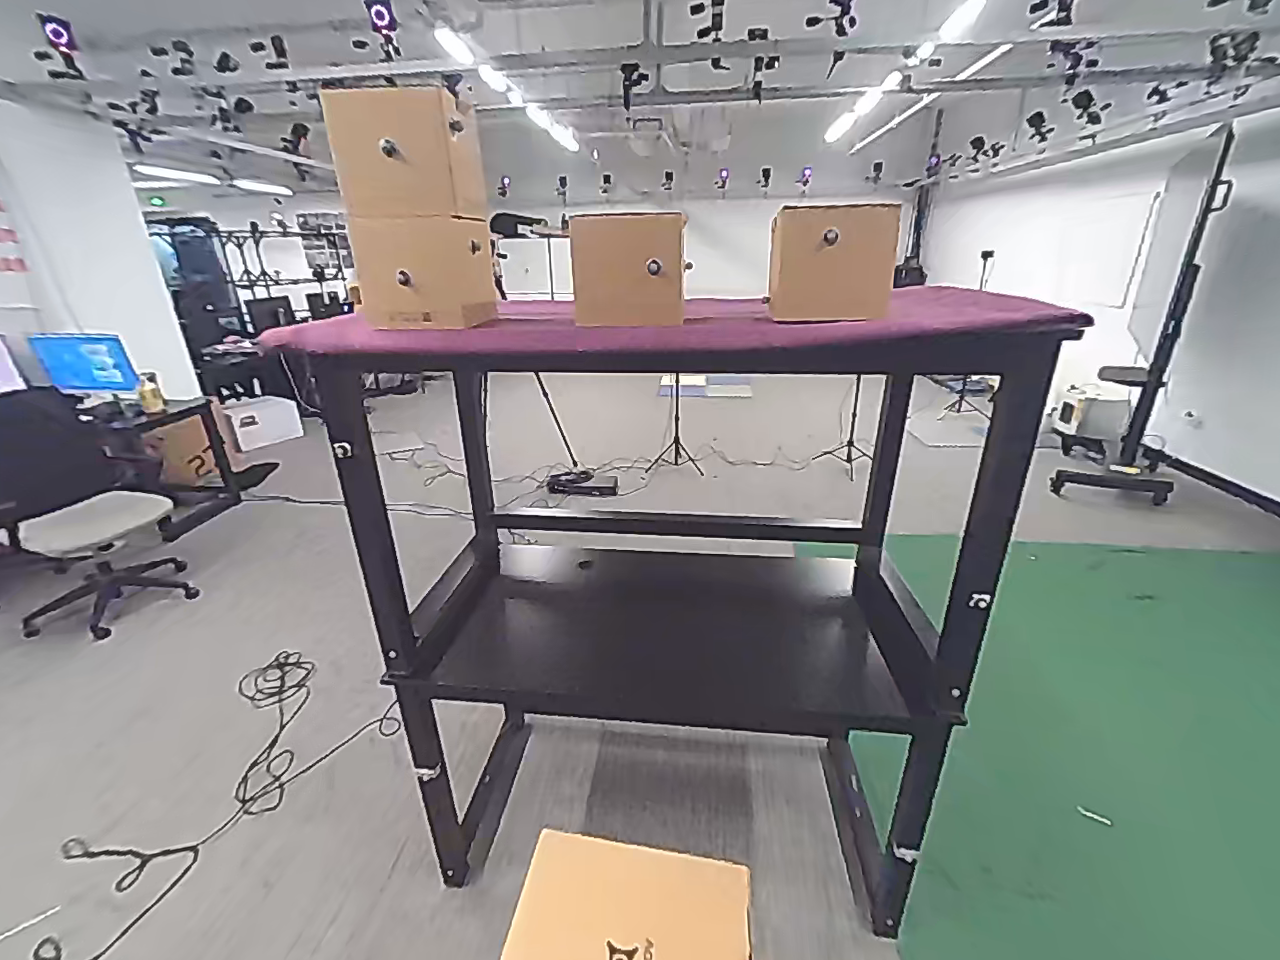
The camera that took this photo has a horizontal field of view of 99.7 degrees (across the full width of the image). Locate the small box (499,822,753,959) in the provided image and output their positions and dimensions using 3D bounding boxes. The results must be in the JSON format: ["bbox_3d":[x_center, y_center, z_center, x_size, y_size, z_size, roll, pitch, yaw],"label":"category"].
[{"bbox_3d":[-0.012,0.404,0.407,0.179,0.176,0.168,6,22,7],"label":"small box"}]

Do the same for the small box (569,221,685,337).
[{"bbox_3d":[-0.013,-0.341,0.921,0.179,0.176,0.168,0,21,6],"label":"small box"}]

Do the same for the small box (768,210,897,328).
[{"bbox_3d":[0.310,-0.347,0.911,0.179,0.176,0.168,2,20,8],"label":"small box"}]

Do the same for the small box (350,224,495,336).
[{"bbox_3d":[-0.356,-0.341,0.926,0.168,0.176,0.179,2,22,4],"label":"small box"}]
